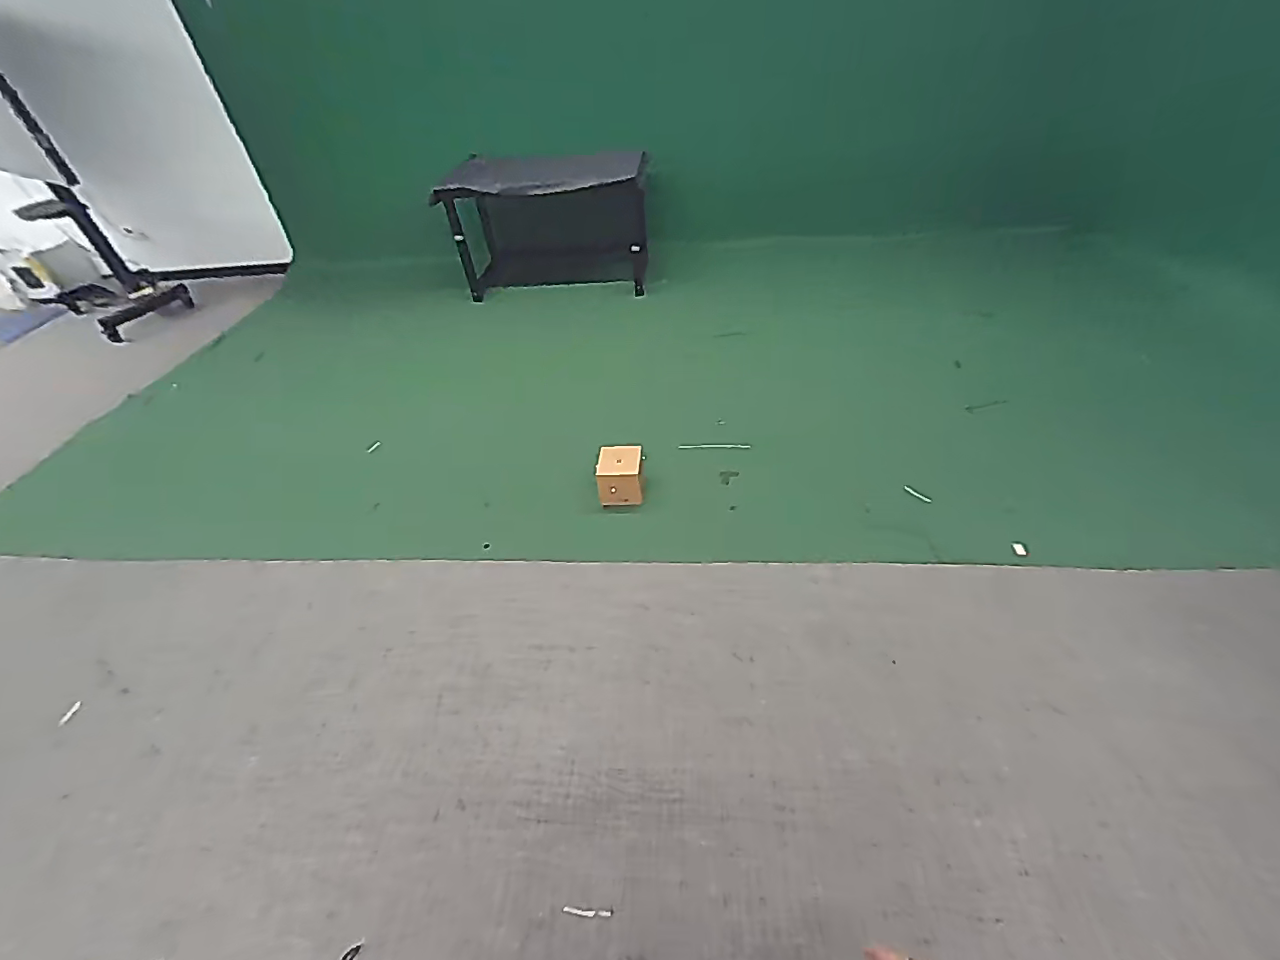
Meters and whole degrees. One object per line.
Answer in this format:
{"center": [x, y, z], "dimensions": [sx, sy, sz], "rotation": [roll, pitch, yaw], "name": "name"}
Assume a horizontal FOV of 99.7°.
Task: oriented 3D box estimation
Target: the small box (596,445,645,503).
{"center": [-0.071, -0.021, 2.154], "dimensions": [0.168, 0.176, 0.179], "rotation": [-2, 42, 7], "name": "small box"}
